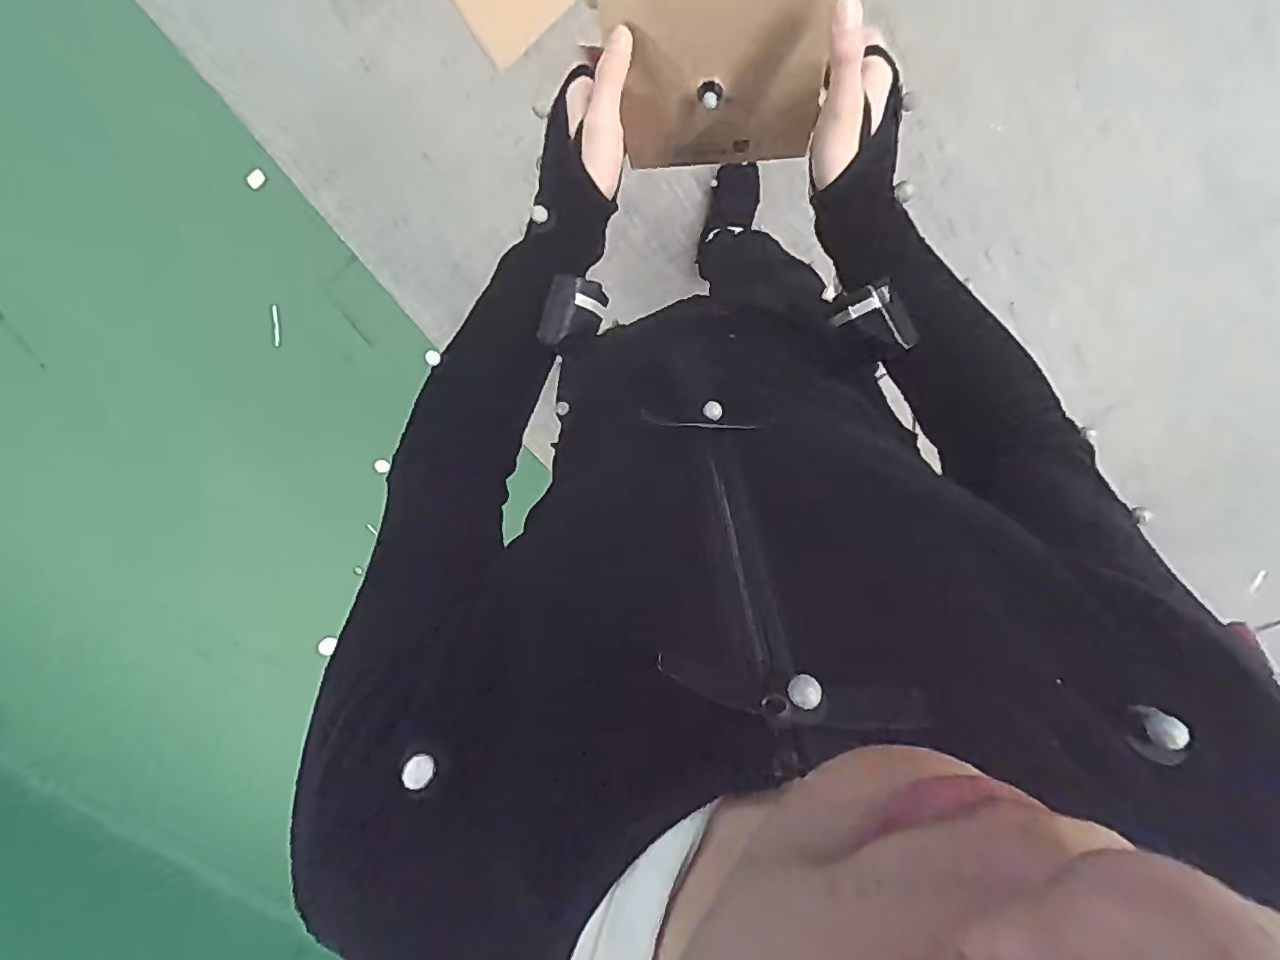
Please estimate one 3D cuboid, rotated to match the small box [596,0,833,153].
[{"bbox_3d":[0.065,-0.396,0.440,0.168,0.176,0.179,1,78,8],"label":"small box"}]
